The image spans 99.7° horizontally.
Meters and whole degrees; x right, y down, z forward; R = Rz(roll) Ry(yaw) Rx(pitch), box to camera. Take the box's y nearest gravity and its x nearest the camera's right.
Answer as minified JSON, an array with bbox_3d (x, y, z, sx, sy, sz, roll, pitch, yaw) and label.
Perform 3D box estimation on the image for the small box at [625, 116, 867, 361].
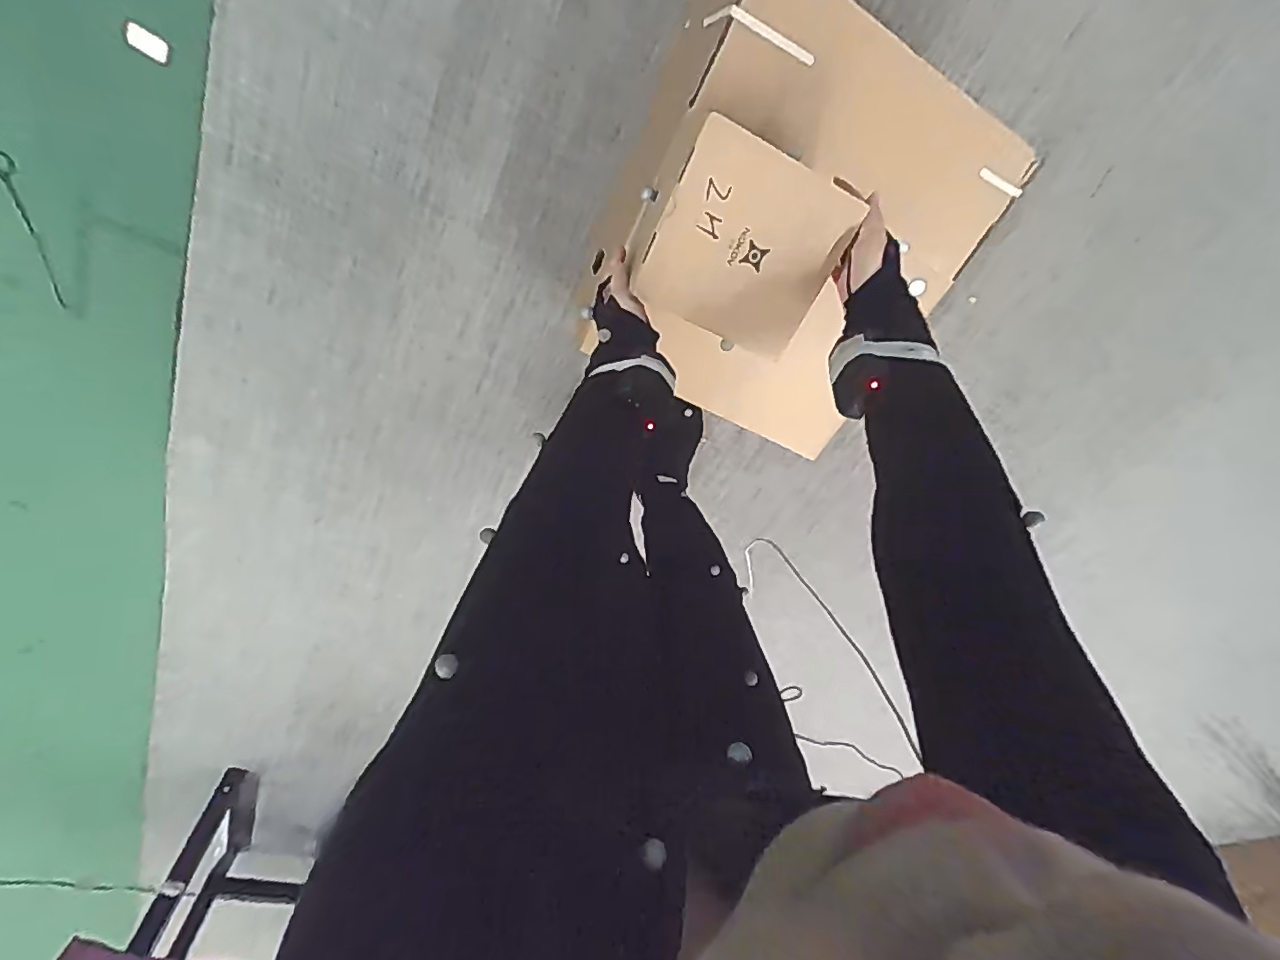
[{"bbox_3d":[0.096,-0.258,0.580,0.179,0.176,0.168,21,117,-16],"label":"small box"}]
